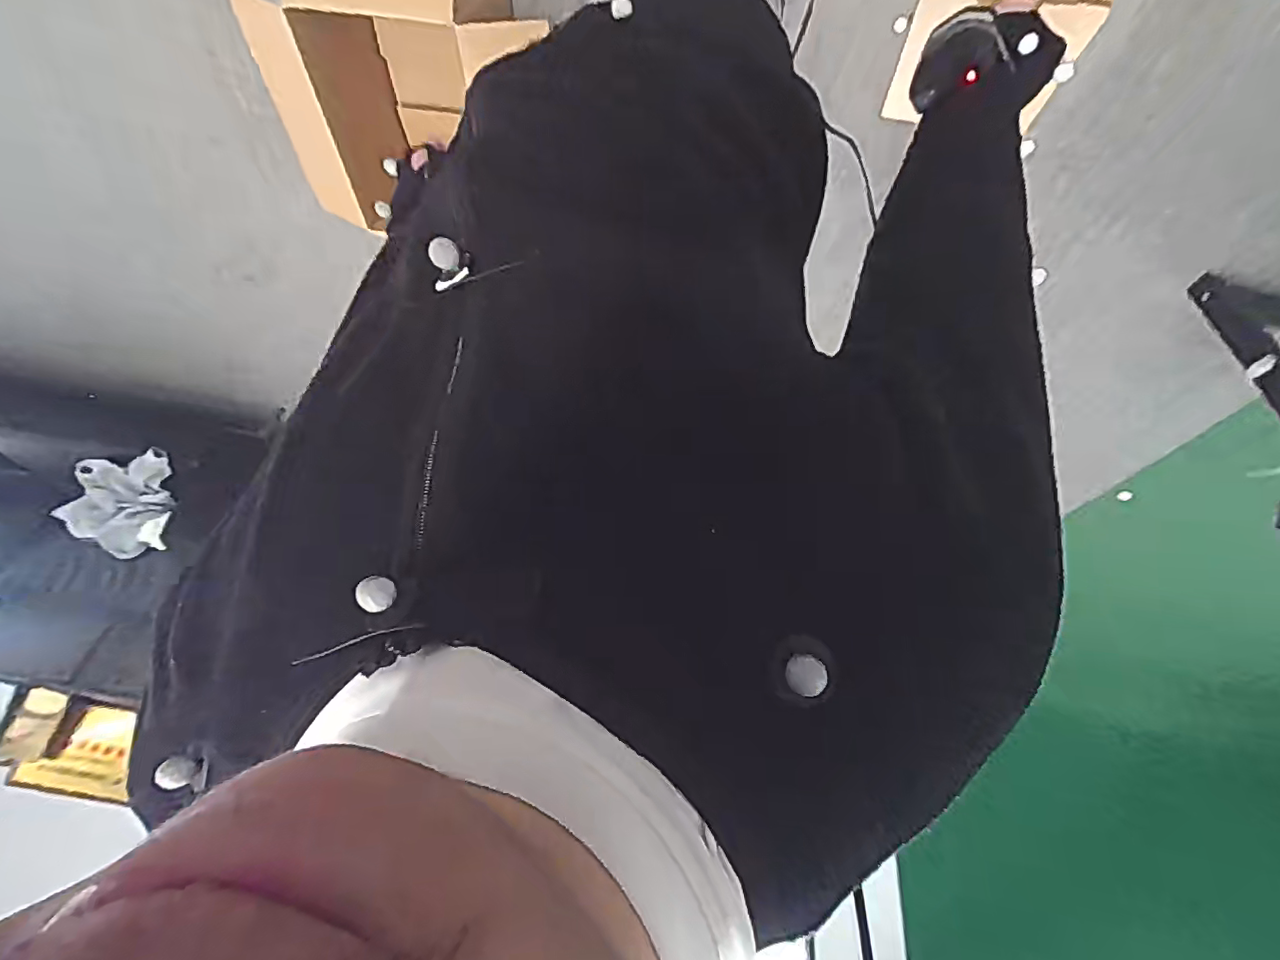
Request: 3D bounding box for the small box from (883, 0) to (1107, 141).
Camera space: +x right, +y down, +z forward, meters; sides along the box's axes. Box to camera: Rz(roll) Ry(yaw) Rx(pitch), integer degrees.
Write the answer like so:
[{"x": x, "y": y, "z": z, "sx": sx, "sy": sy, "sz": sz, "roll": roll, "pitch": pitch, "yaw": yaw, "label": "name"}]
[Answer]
[{"x": 0.385, "y": -0.512, "z": 0.586, "sx": 0.168, "sy": 0.179, "sz": 0.176, "roll": 19, "pitch": 178, "yaw": 11, "label": "small box"}]
